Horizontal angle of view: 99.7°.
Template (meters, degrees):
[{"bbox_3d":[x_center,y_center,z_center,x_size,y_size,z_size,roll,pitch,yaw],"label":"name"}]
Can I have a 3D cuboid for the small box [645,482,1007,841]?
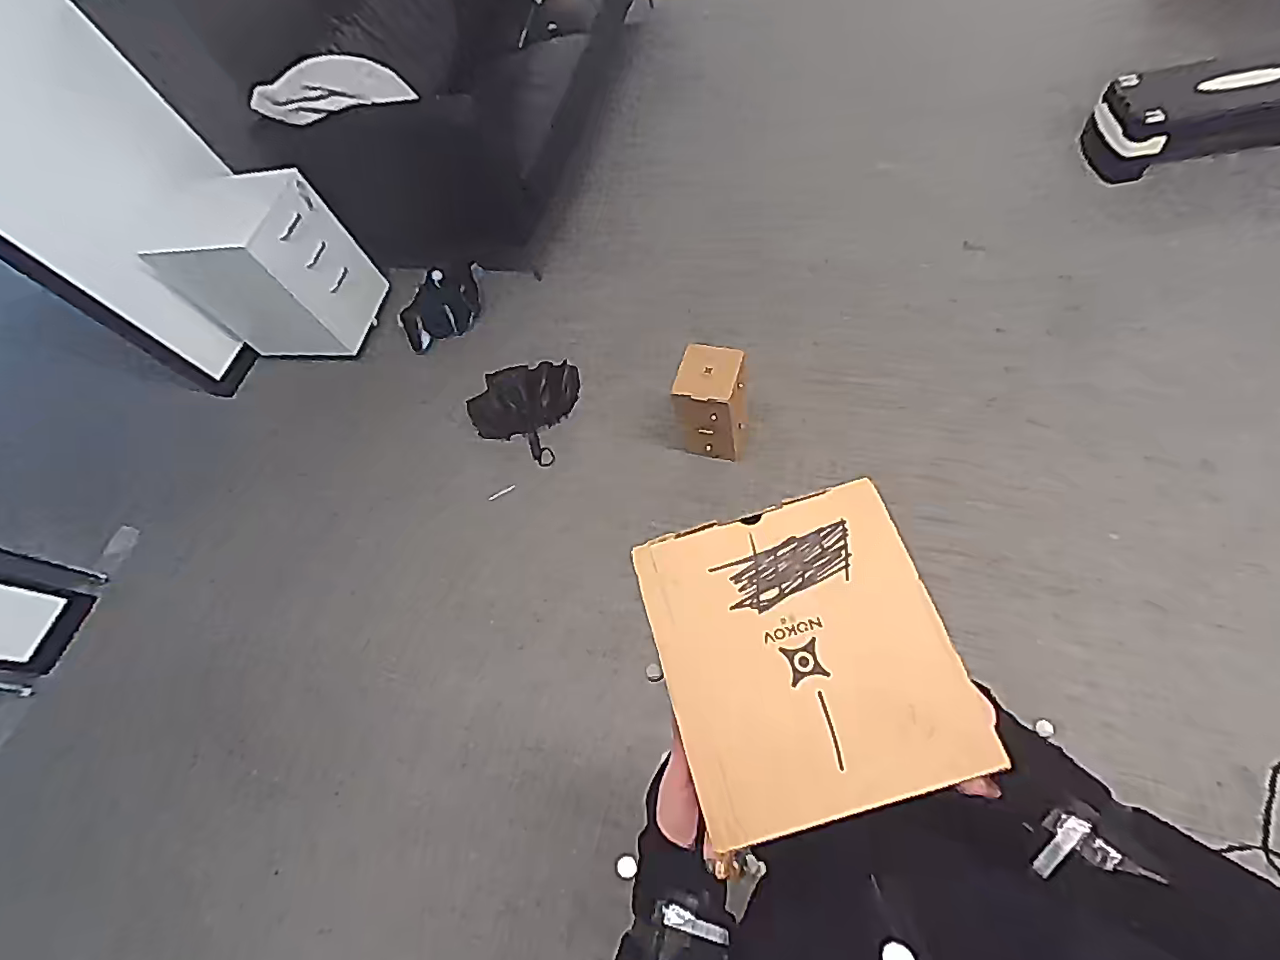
[{"bbox_3d":[0.108,0.127,0.397,0.168,0.176,0.179,-16,68,0],"label":"small box"}]
